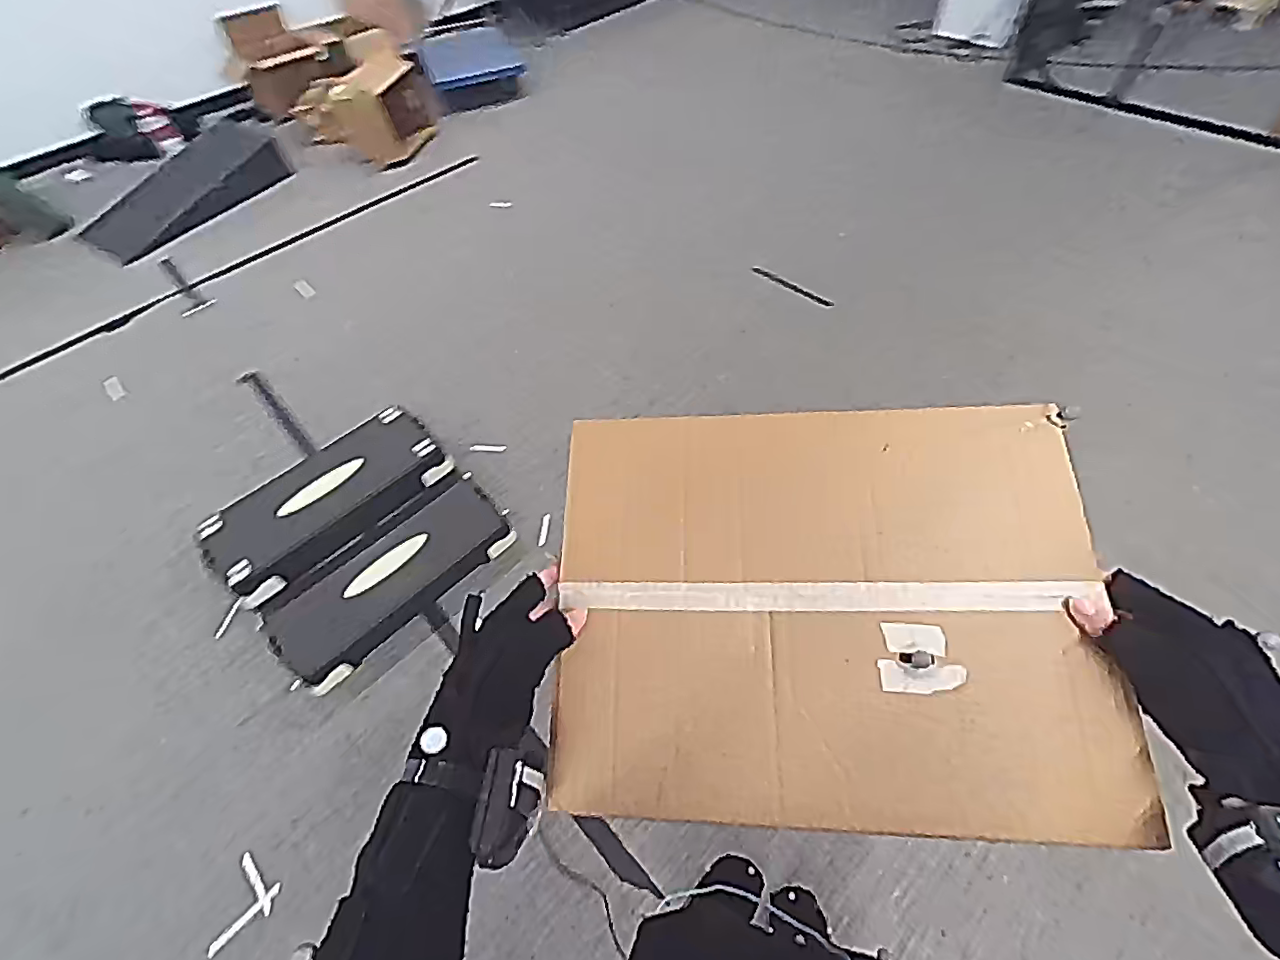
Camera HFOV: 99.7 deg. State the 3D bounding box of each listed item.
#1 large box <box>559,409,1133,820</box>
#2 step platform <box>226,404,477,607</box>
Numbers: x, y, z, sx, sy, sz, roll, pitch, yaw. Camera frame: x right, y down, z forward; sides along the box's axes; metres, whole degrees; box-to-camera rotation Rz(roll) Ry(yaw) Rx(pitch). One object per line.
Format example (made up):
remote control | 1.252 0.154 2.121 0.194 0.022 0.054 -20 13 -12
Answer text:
large box | 0.149 0.143 0.570 0.408 0.320 0.320 -2 71 7
step platform | -0.862 0.057 1.659 0.286 0.204 0.684 38 65 26
